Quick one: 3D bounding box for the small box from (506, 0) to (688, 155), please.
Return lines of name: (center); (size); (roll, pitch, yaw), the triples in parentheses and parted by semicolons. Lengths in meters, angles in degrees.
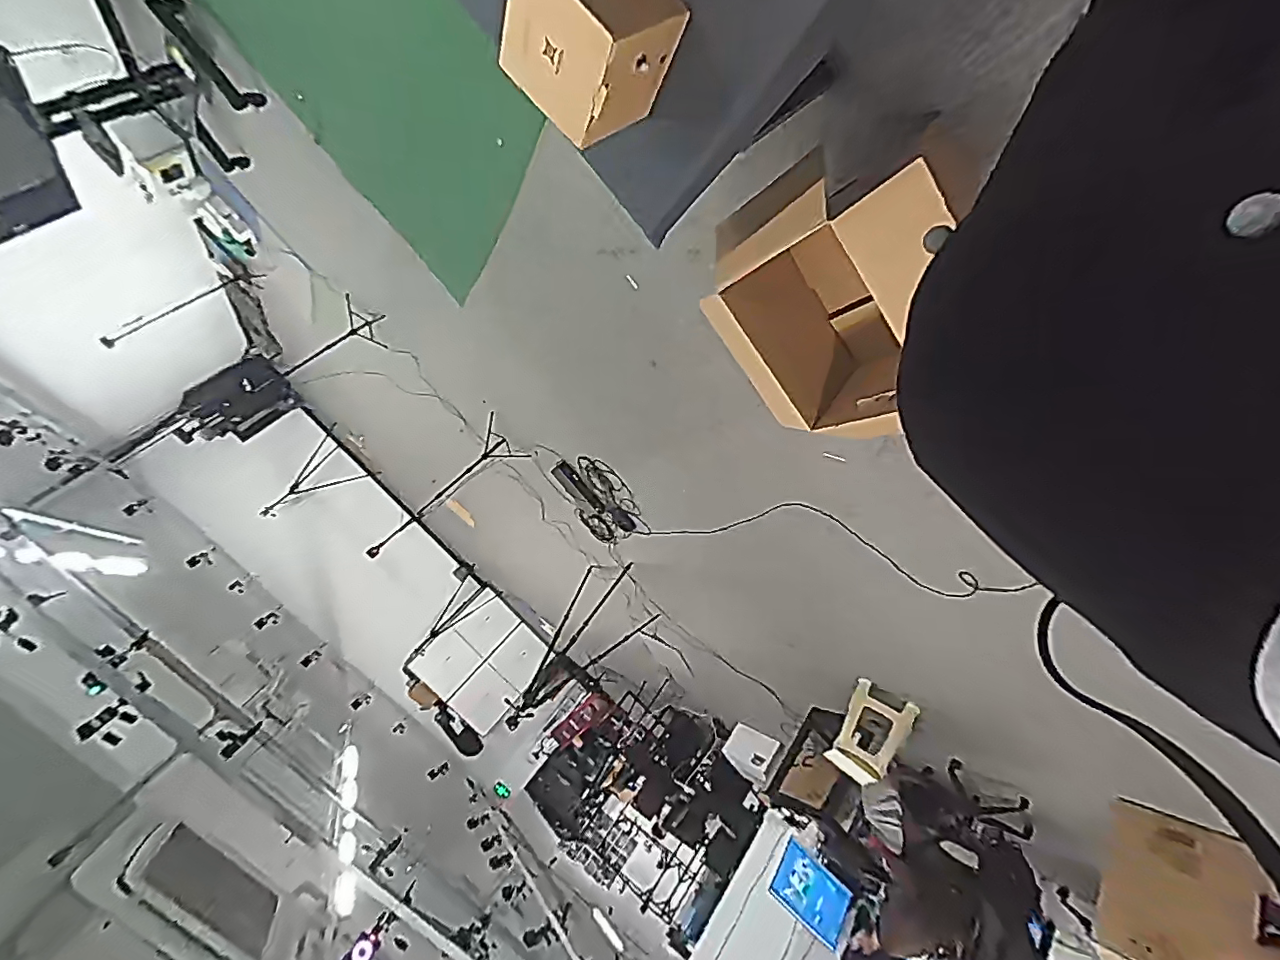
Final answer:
small box: (-0.061, -0.624, 0.780); (0.179, 0.176, 0.168); (47, 151, -2)
